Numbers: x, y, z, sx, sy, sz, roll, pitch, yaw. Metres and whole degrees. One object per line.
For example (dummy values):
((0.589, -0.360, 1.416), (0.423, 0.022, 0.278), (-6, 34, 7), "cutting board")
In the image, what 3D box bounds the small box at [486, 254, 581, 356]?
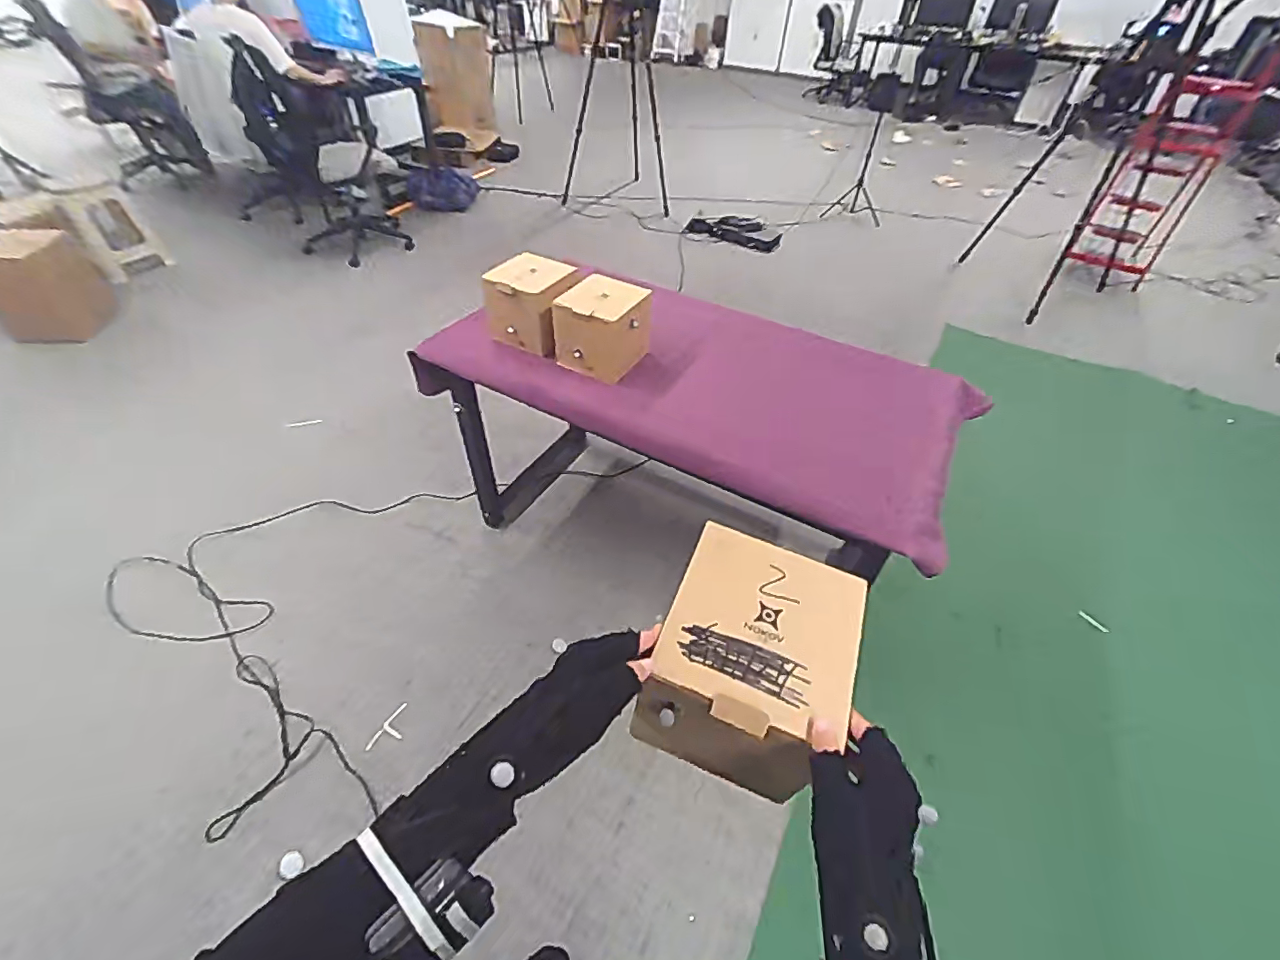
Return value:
((-0.263, -0.443, 1.371), (0.168, 0.176, 0.179), (23, 49, 19), "small box")

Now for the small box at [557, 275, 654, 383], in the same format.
((-0.084, -0.364, 1.305), (0.168, 0.176, 0.179), (24, 49, 19), "small box")
